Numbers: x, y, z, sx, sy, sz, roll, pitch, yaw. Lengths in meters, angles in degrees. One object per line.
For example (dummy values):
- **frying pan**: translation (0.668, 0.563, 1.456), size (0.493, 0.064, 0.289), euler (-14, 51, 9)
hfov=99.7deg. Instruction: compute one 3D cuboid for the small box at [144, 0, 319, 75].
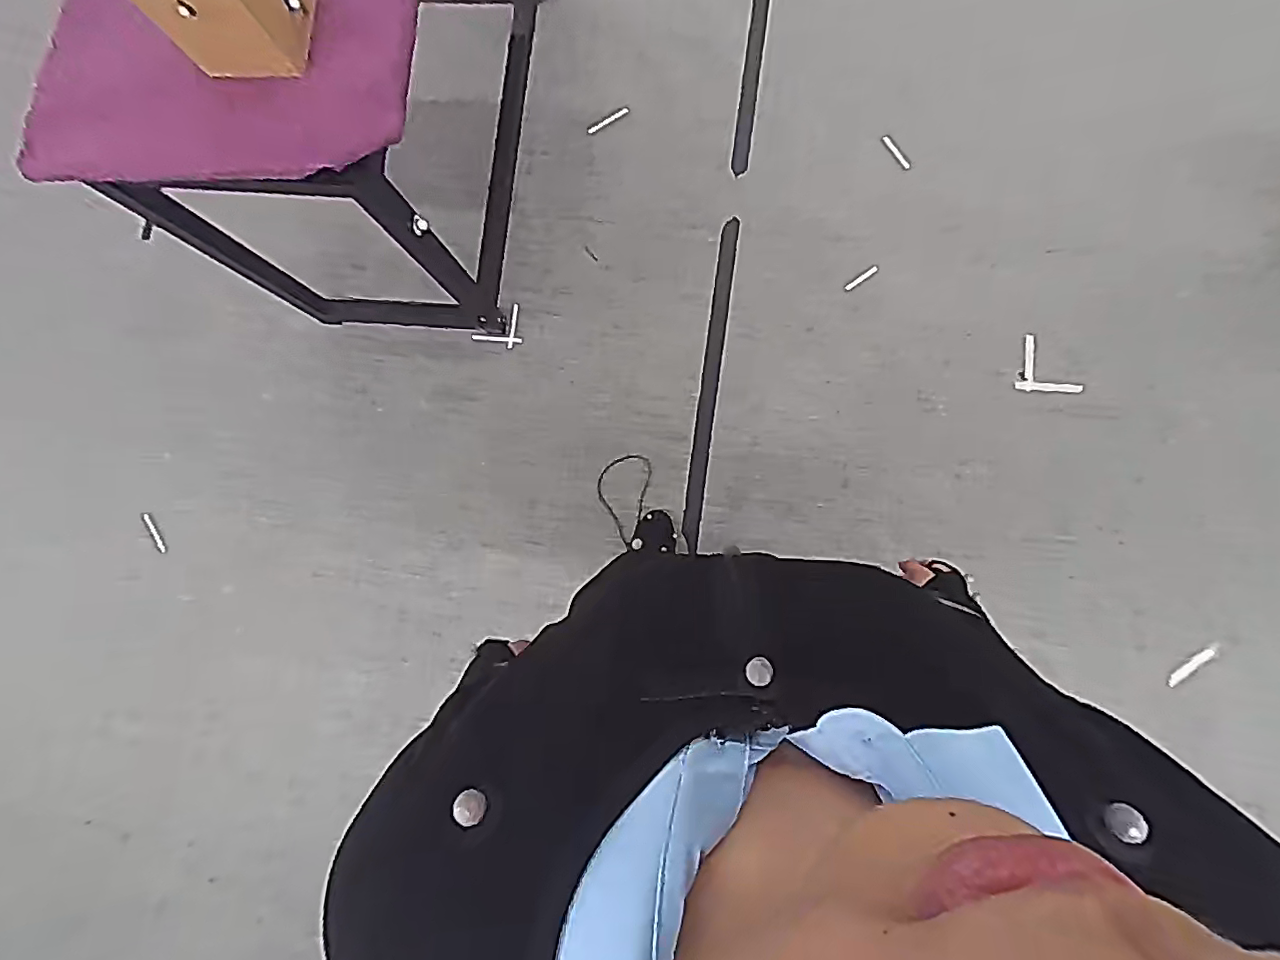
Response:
- **small box**: translation (-0.645, -0.770, 0.840), size (0.179, 0.176, 0.168), euler (4, 84, 5)
